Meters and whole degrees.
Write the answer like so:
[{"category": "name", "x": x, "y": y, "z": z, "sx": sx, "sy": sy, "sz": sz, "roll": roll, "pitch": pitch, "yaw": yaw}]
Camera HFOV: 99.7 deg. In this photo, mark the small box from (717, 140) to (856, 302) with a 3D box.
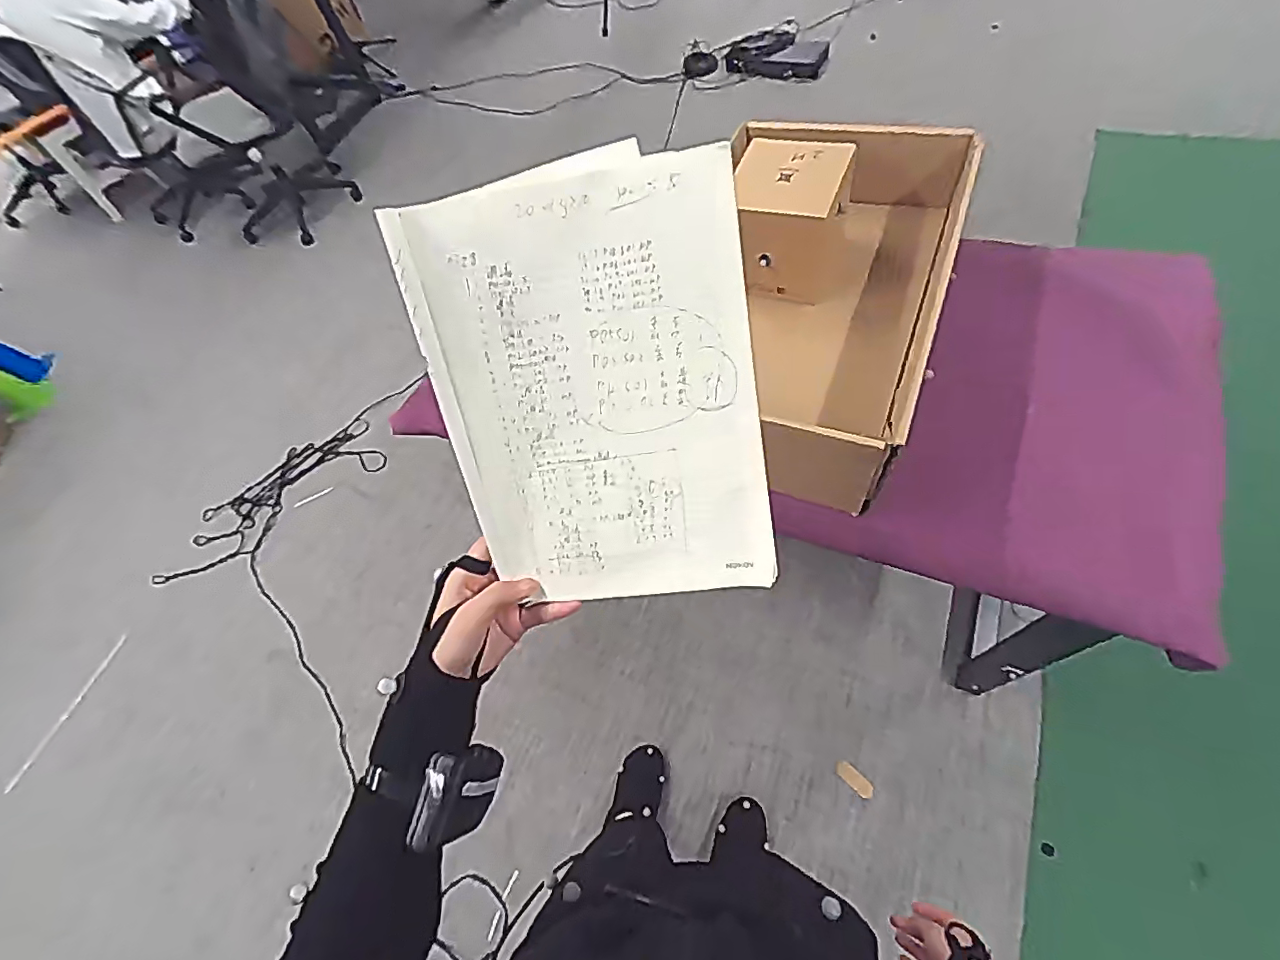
[{"category": "small box", "x": 0.240, "y": -0.422, "z": 0.891, "sx": 0.168, "sy": 0.176, "sz": 0.179, "roll": 18, "pitch": 67, "yaw": 20}]
